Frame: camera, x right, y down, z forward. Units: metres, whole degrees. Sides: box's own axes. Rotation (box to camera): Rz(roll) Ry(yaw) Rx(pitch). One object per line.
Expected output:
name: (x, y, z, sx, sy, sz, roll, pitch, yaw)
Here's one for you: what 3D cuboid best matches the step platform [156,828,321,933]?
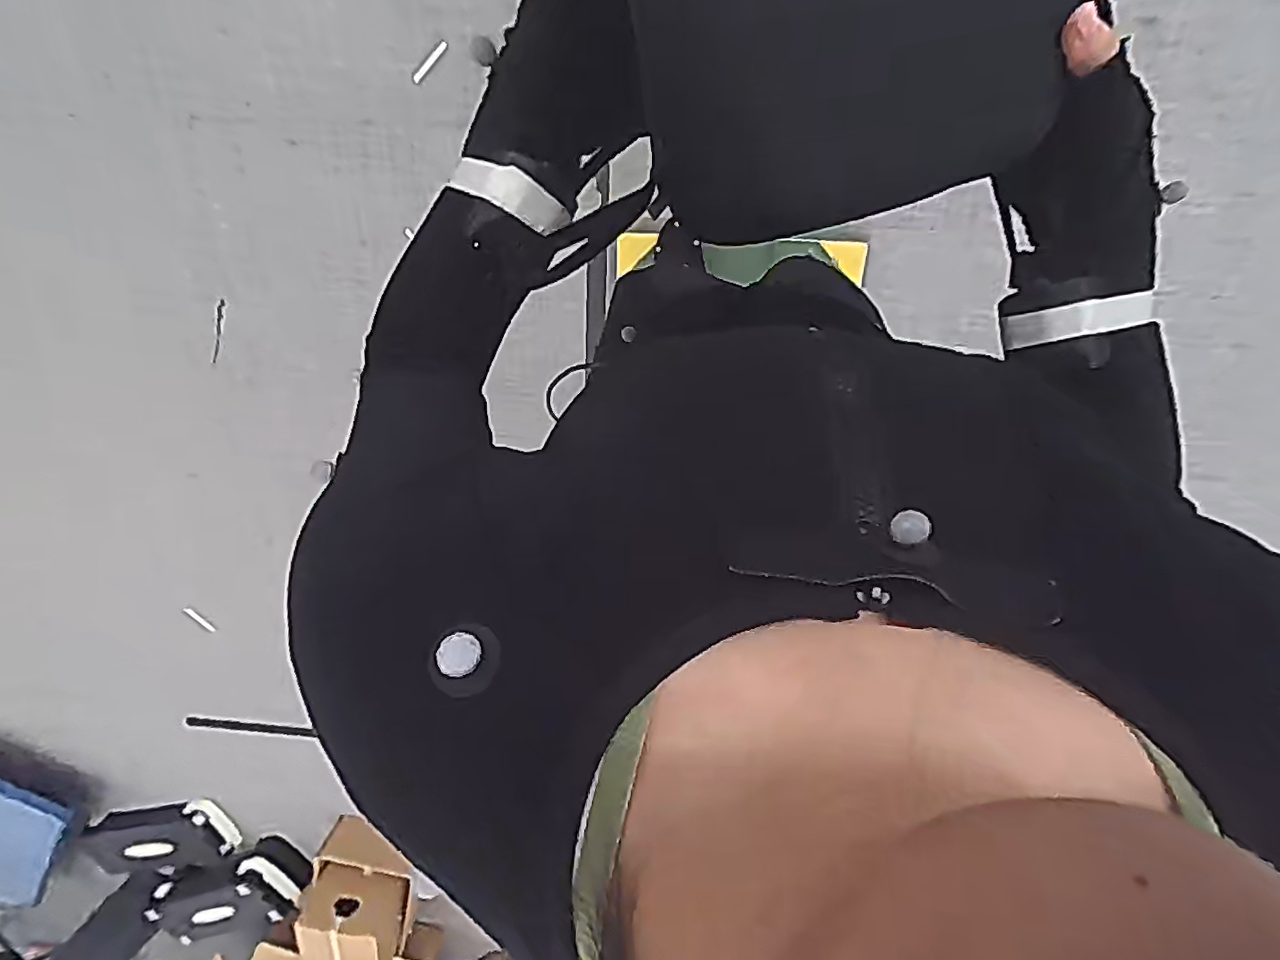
step platform: (-1.824, 1.824, 2.454, 0.684, 0.204, 0.286, -24, 110, 13)
